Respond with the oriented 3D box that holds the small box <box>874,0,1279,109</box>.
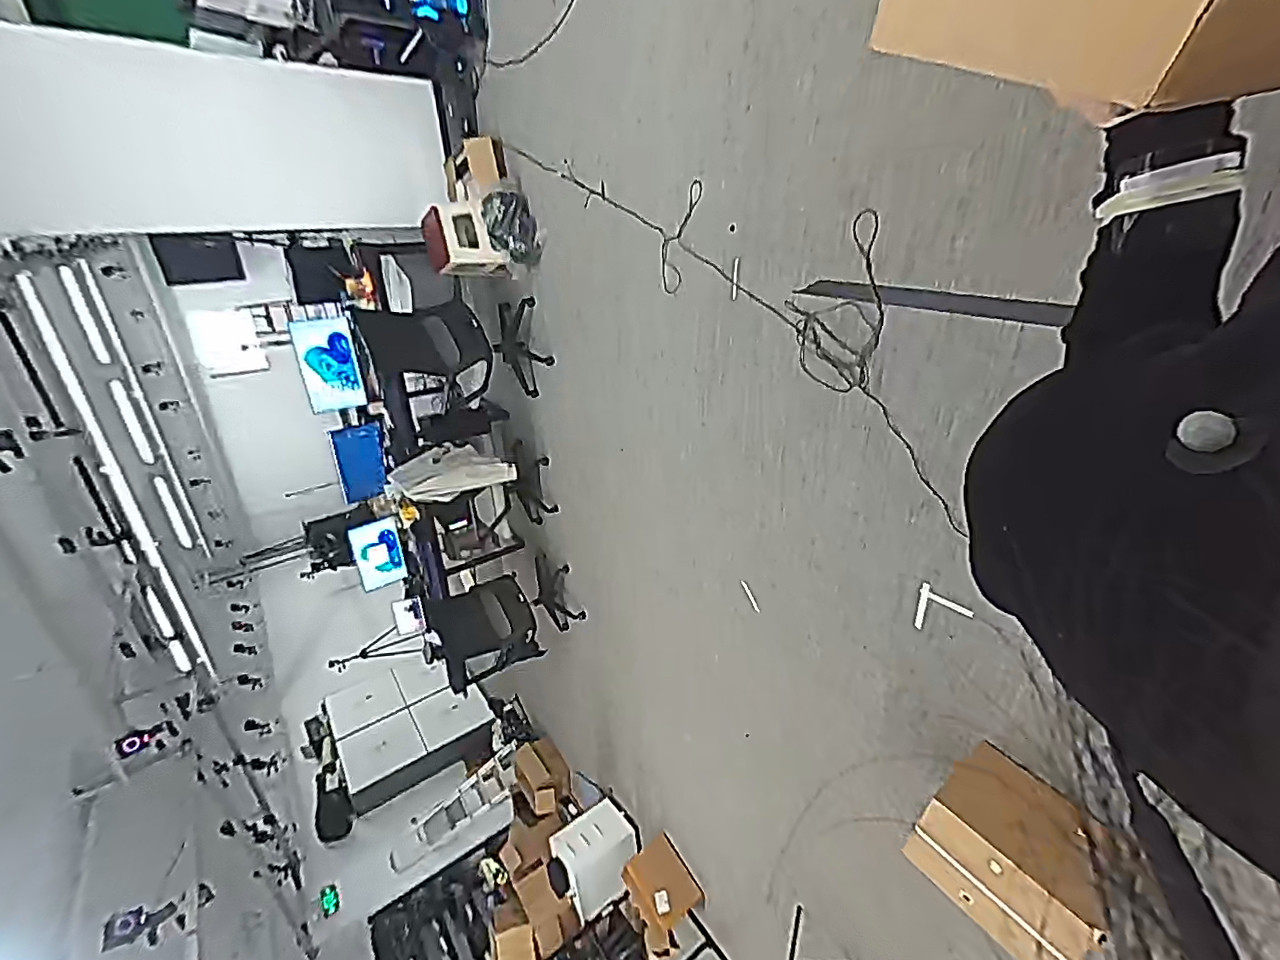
[{"bbox_3d":[0.265,-0.308,0.269,0.179,0.176,0.168,53,153,37],"label":"small box"}]
